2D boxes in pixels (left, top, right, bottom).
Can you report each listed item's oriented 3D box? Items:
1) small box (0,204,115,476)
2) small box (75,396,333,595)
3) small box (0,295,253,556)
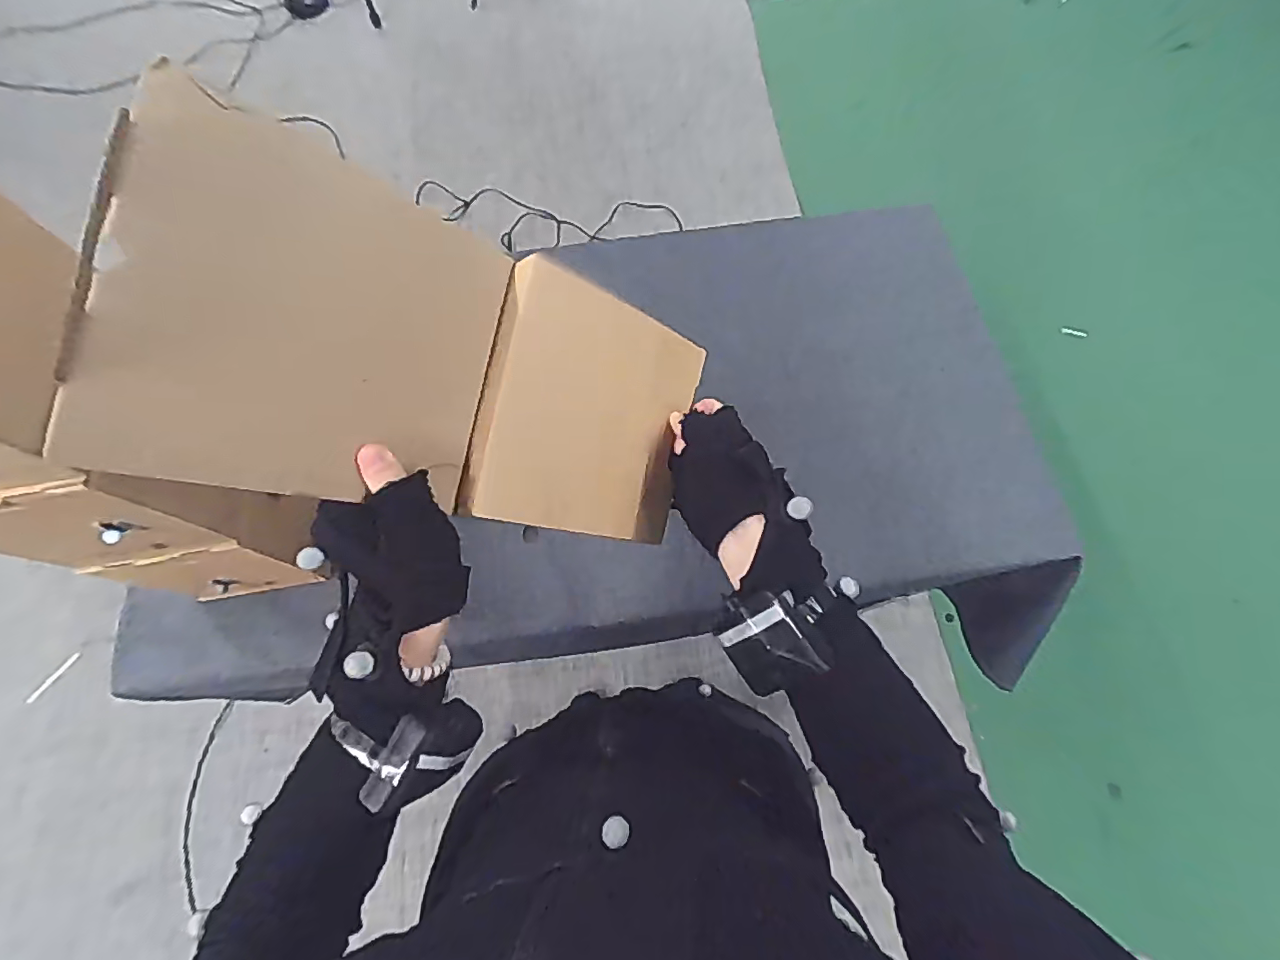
[{"bbox_3d":[-0.495,-0.101,0.342,0.168,0.176,0.179,-10,69,-4],"label":"small box"},{"bbox_3d":[-0.492,0.026,0.643,0.168,0.176,0.179,-10,70,-3],"label":"small box"},{"bbox_3d":[-0.492,-0.036,0.492,0.168,0.176,0.179,-9,69,-3],"label":"small box"}]
